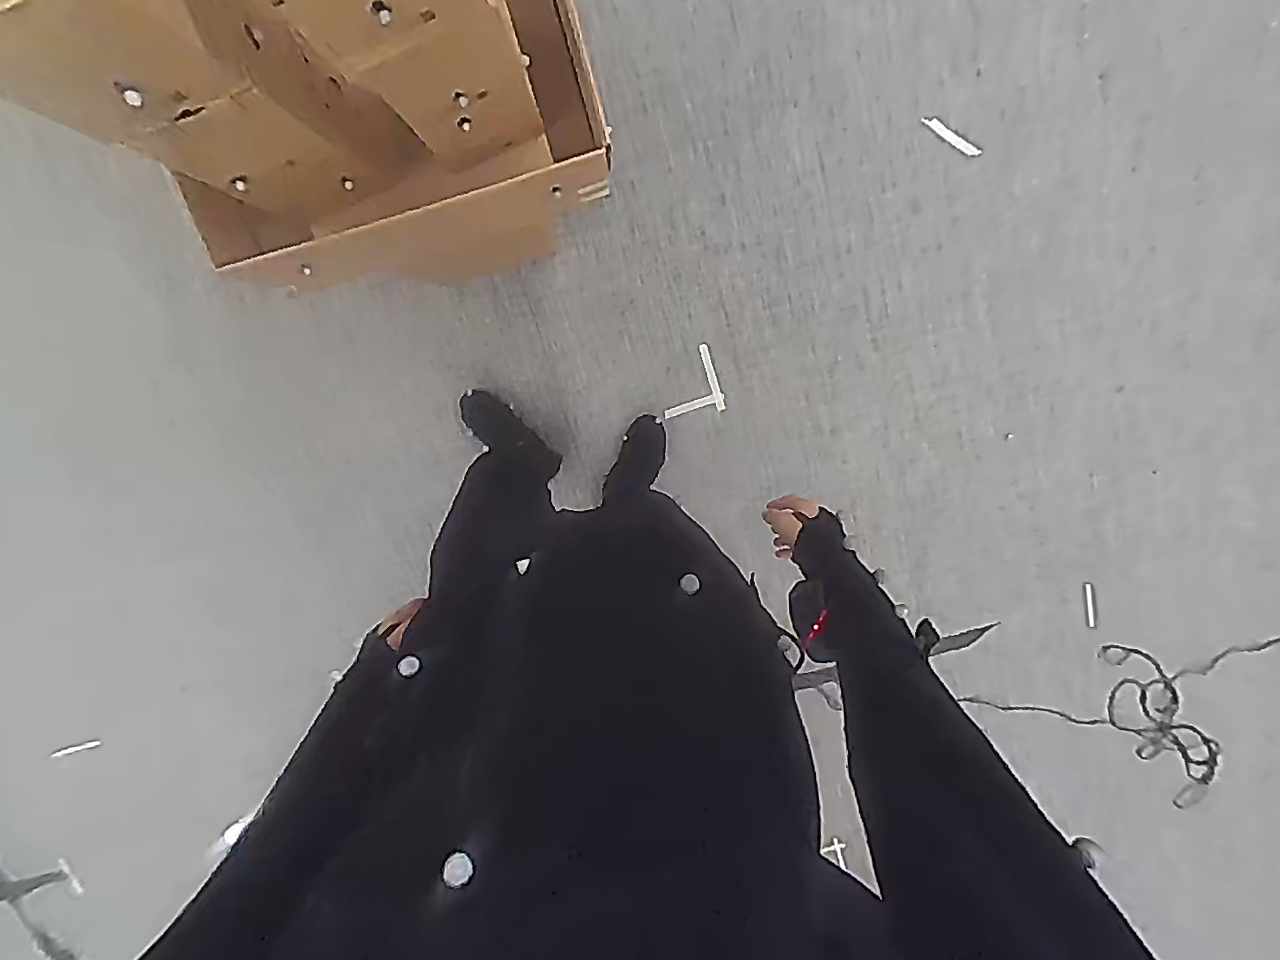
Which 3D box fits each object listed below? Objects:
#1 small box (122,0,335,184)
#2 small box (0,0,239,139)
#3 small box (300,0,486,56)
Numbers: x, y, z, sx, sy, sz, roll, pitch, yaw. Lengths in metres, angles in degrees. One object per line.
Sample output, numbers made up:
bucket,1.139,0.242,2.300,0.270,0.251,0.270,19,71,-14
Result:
small box,-0.505,-0.479,0.638,0.168,0.176,0.179,-20,100,3
small box,-0.517,-0.449,0.475,0.168,0.176,0.179,-21,100,4
small box,-0.254,-0.523,0.464,0.168,0.176,0.179,-17,103,3
